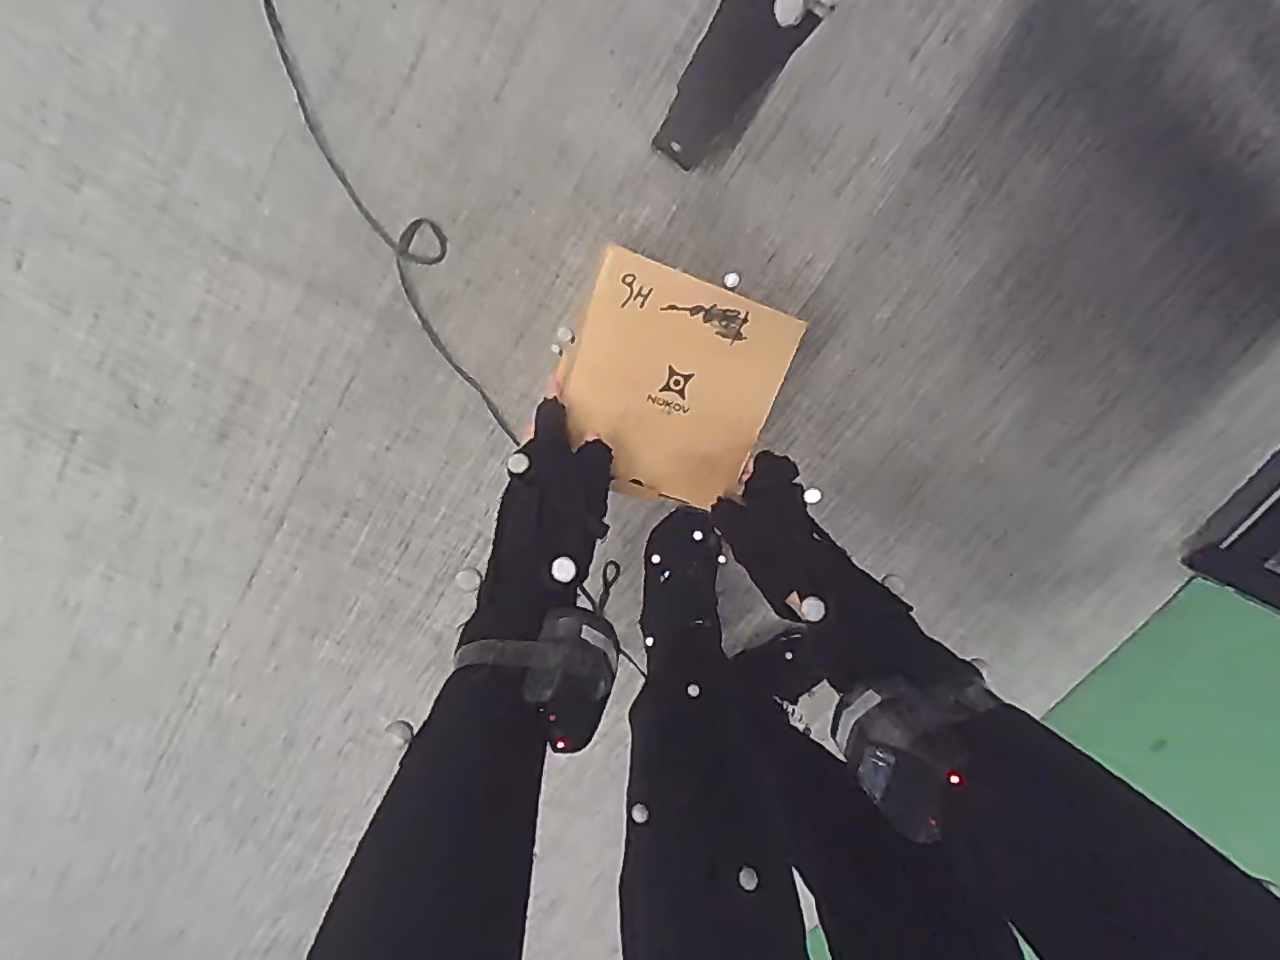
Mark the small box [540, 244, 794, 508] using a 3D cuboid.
[{"bbox_3d":[0.015,-0.102,0.509,0.168,0.176,0.179,16,108,-9],"label":"small box"}]
